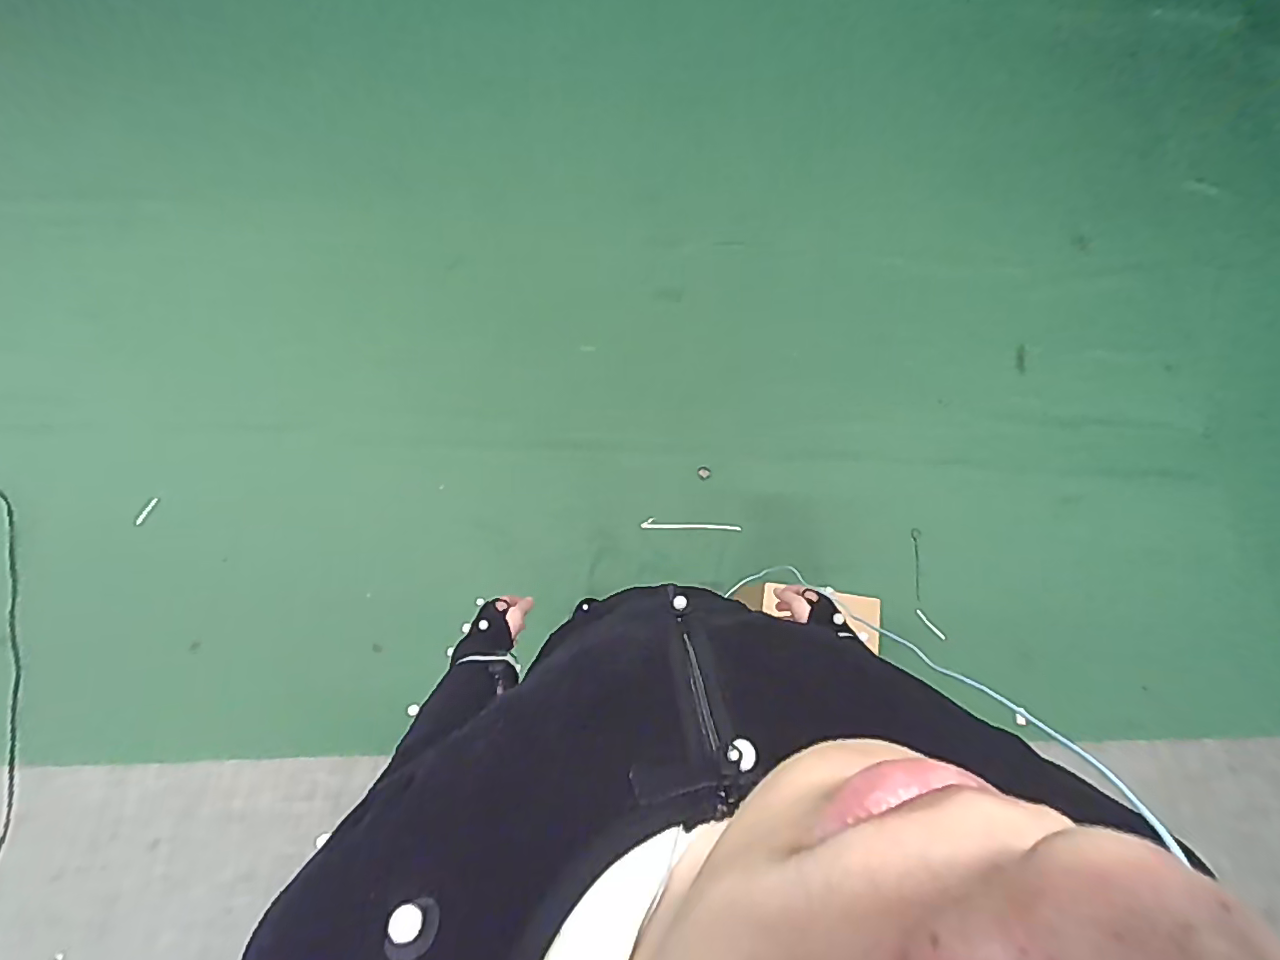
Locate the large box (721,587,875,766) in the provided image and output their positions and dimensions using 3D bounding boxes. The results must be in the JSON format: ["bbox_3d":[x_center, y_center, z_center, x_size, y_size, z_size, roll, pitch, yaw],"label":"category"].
[{"bbox_3d":[0.424,0.518,1.498,0.320,0.320,0.408,9,76,-3],"label":"large box"}]
